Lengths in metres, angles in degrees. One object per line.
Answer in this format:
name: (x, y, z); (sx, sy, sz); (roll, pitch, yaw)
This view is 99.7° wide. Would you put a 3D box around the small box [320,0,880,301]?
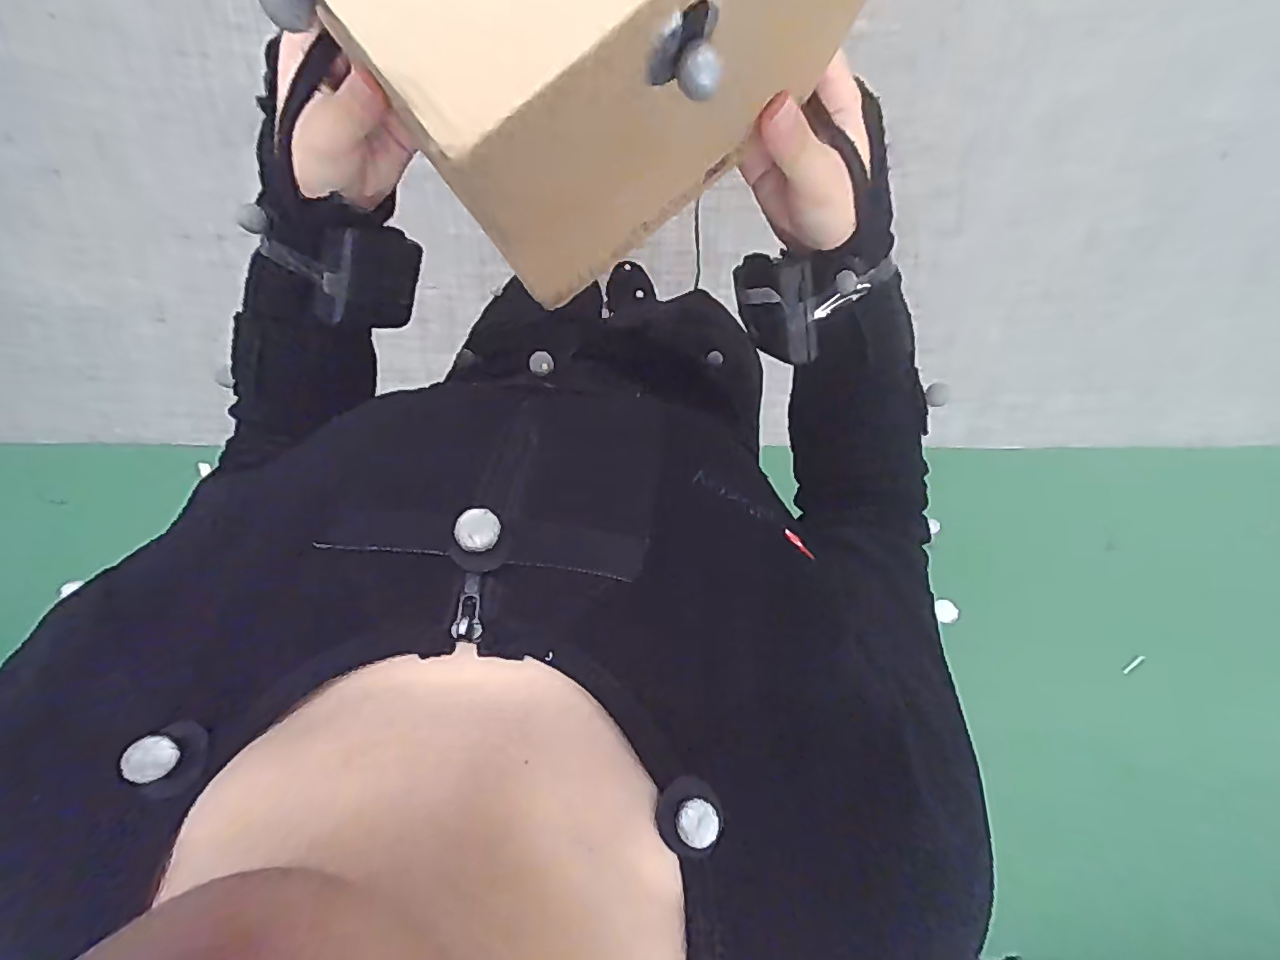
small box: (-0.026, -0.194, 0.194); (0.168, 0.176, 0.179); (-39, 96, 3)
